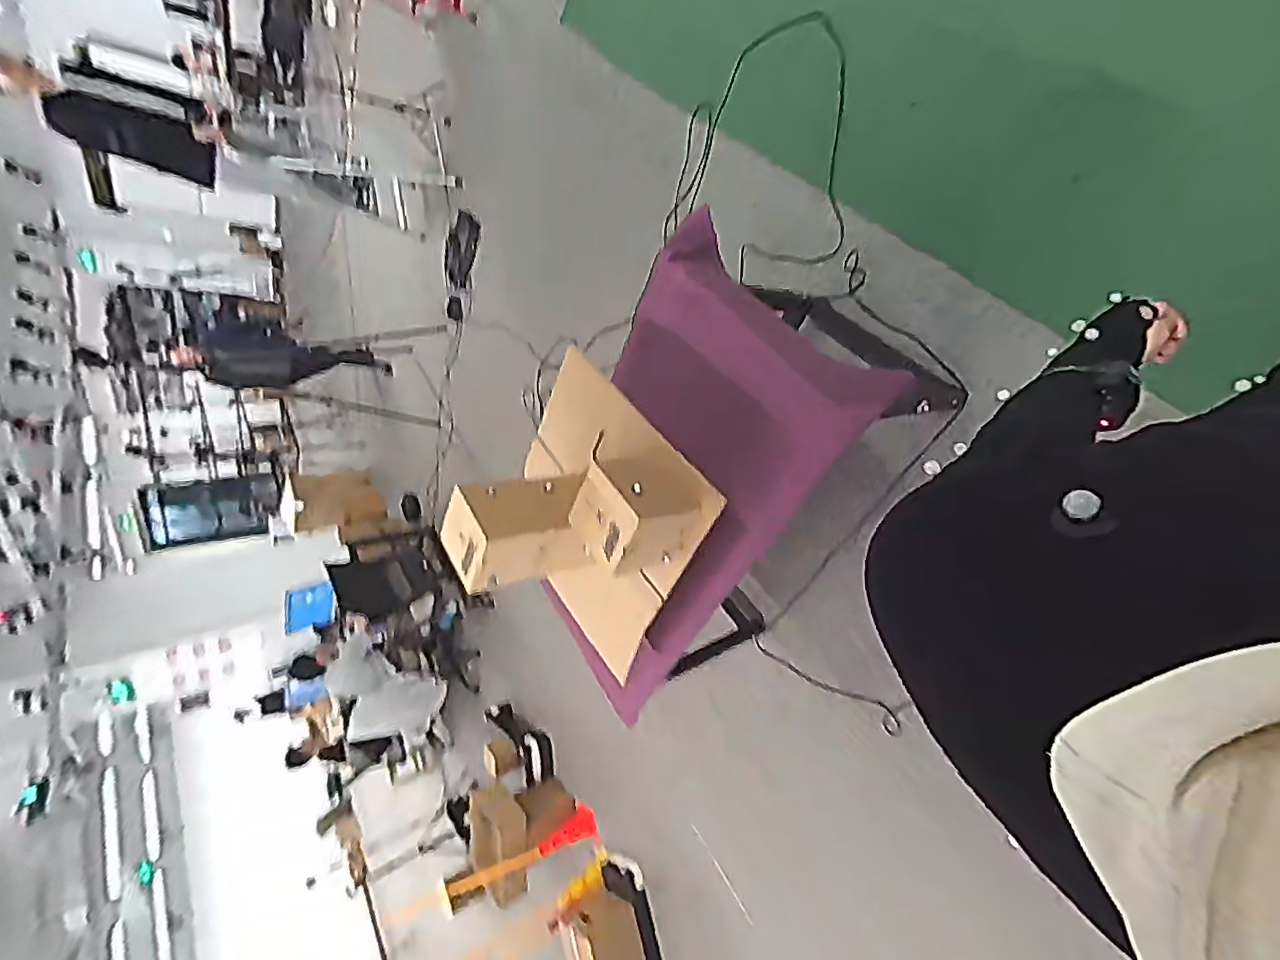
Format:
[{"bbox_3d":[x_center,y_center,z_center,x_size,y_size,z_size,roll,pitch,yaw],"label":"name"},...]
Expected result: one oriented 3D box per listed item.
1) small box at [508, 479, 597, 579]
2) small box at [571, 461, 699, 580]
[{"bbox_3d":[-0.190,0.110,1.318,0.179,0.176,0.168,50,128,30],"label":"small box"},{"bbox_3d":[-0.009,0.074,1.116,0.179,0.176,0.168,50,129,32],"label":"small box"}]
